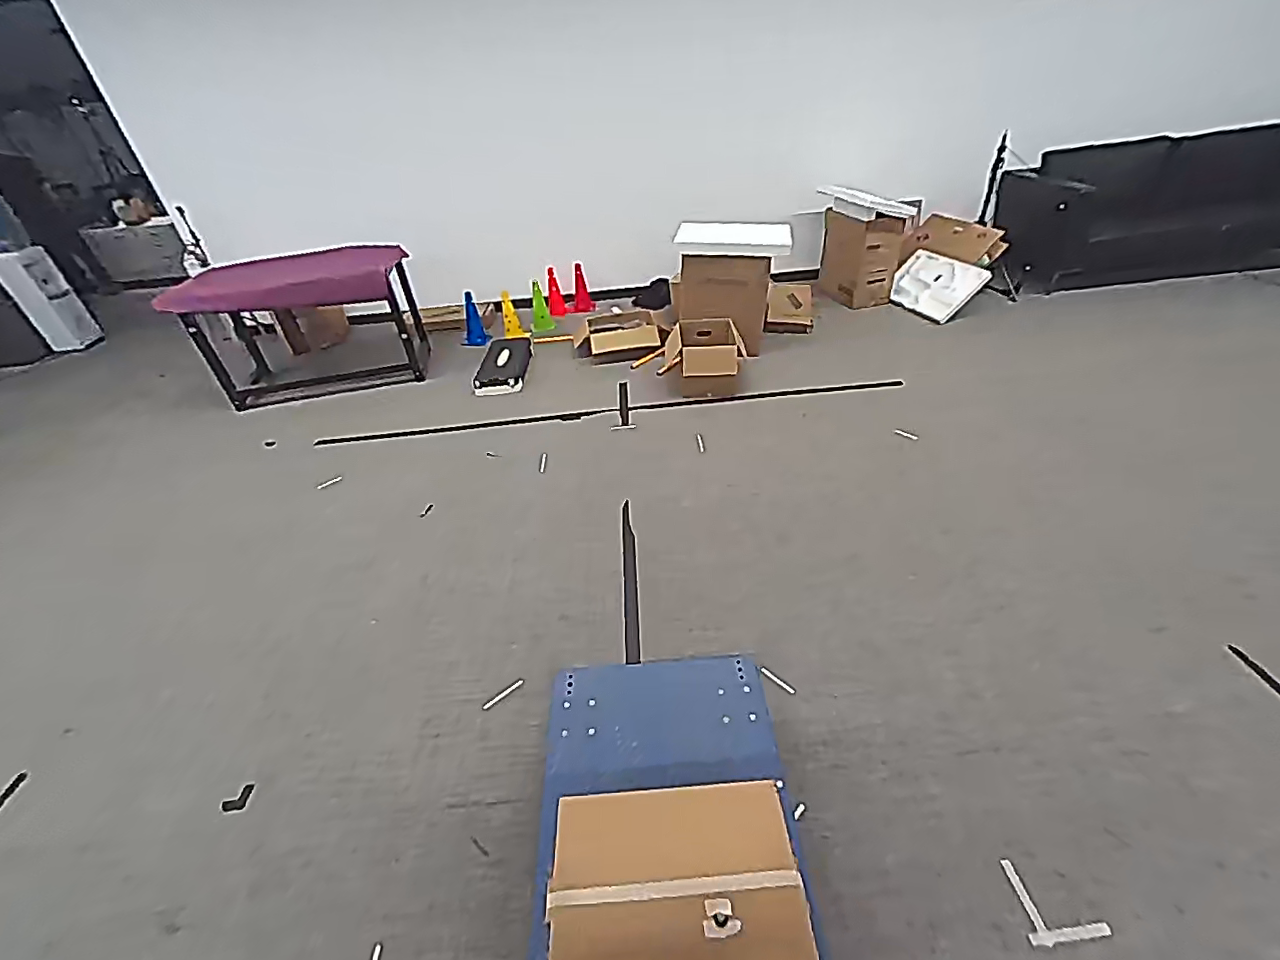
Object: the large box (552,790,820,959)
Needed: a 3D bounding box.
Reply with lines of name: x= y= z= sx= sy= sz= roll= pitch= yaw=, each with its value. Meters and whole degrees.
large box: x=0.070 y=0.789 z=0.940 sx=0.408 sy=0.320 sz=0.320 roll=-5 pitch=37 yaw=0
